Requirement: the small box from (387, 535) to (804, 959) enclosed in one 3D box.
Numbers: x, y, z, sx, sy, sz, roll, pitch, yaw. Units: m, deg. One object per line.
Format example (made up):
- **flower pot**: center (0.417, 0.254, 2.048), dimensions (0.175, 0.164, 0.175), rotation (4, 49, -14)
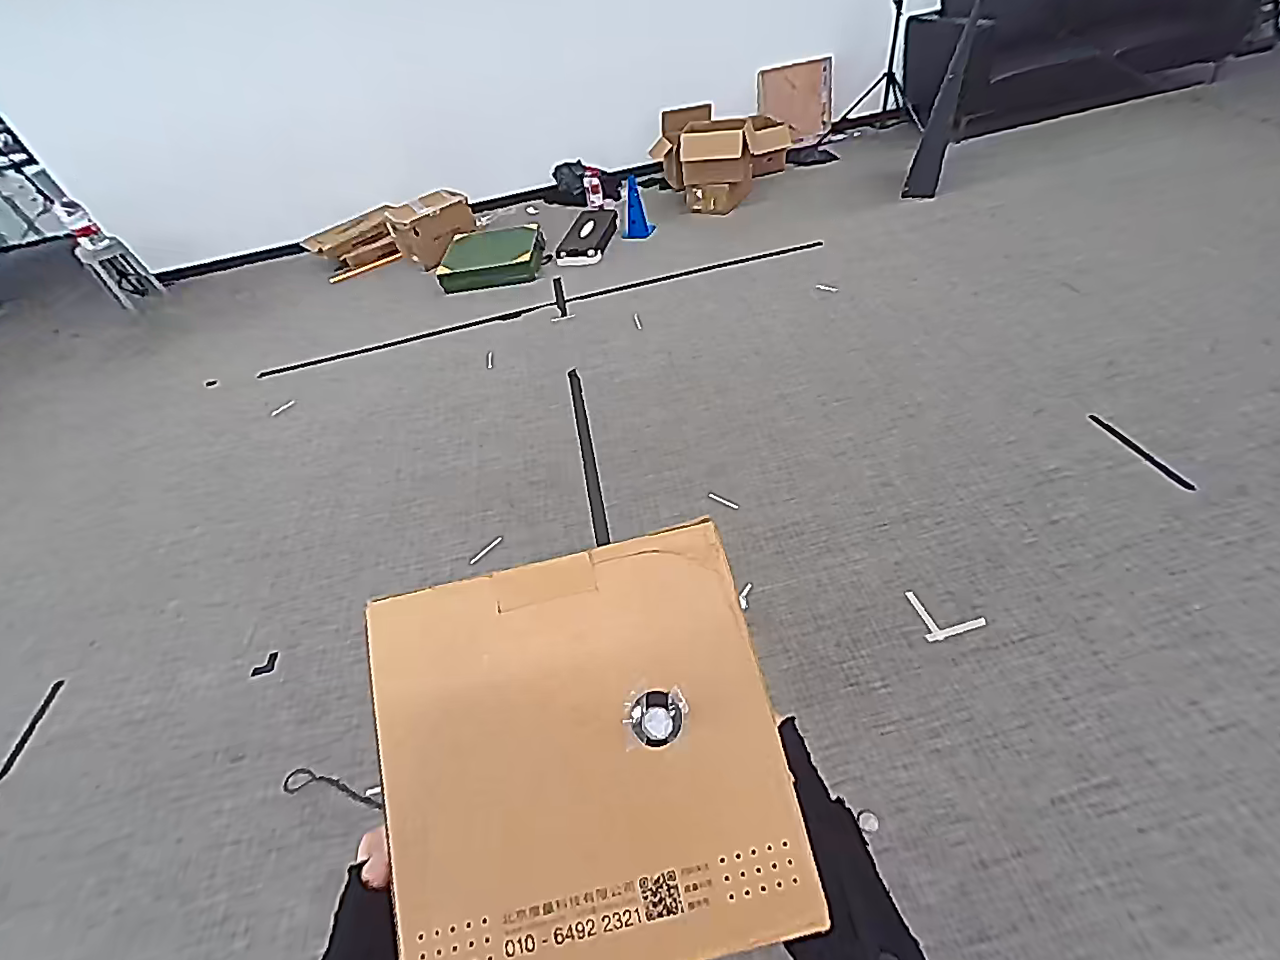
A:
- **small box**: center (-0.019, 0.144, 0.320), dimensions (0.168, 0.179, 0.176), rotation (-14, 75, 0)
